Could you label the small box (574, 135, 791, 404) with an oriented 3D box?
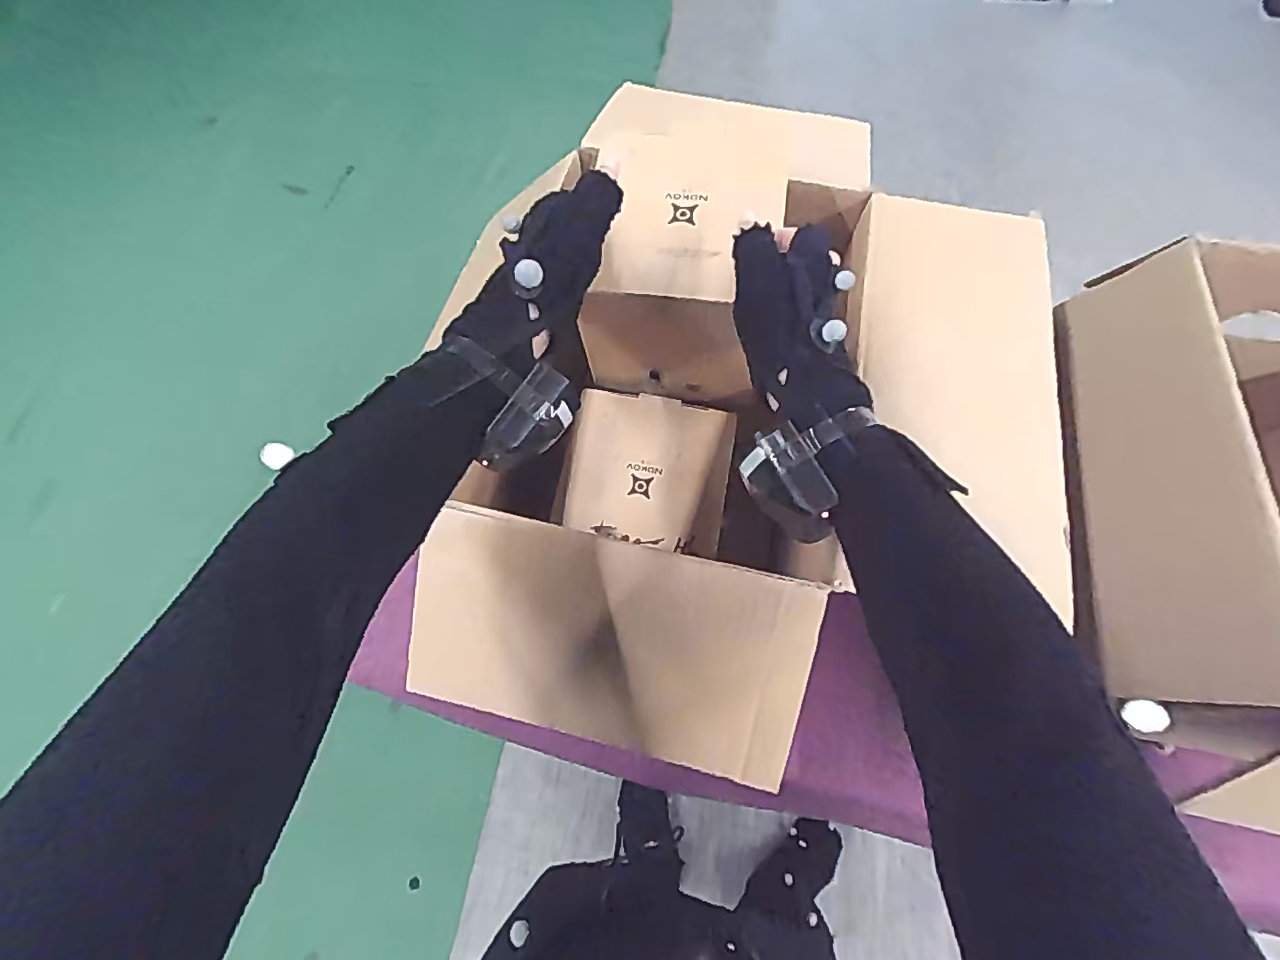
[{"bbox_3d":[0.045,-0.197,0.531,0.168,0.176,0.179,7,71,8],"label":"small box"}]
